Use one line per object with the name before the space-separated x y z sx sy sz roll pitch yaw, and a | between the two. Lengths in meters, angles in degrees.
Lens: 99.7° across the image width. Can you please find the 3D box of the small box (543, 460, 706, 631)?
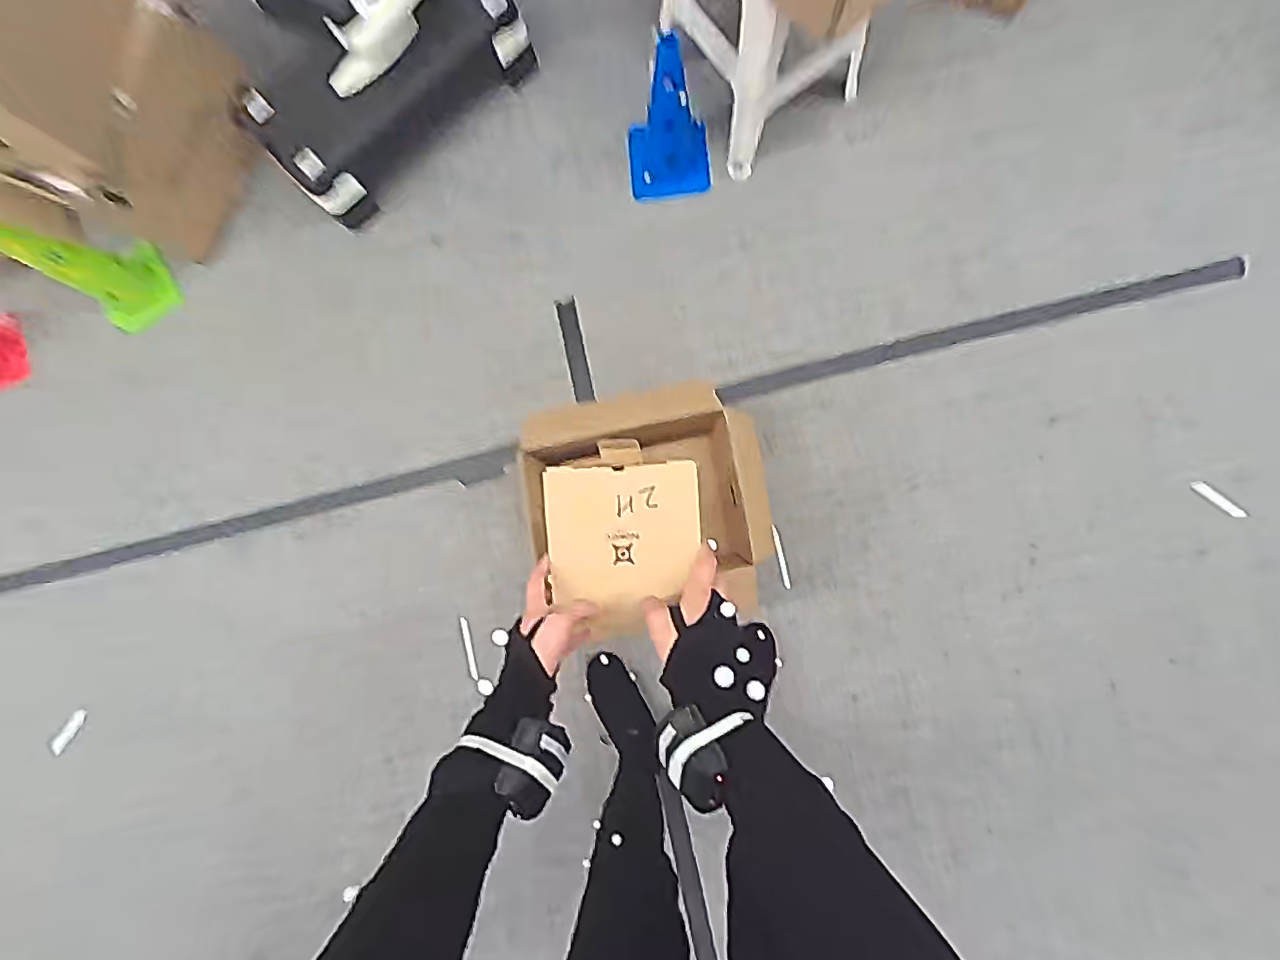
small box | -0.008 0.068 0.641 0.168 0.176 0.179 -3 91 7
